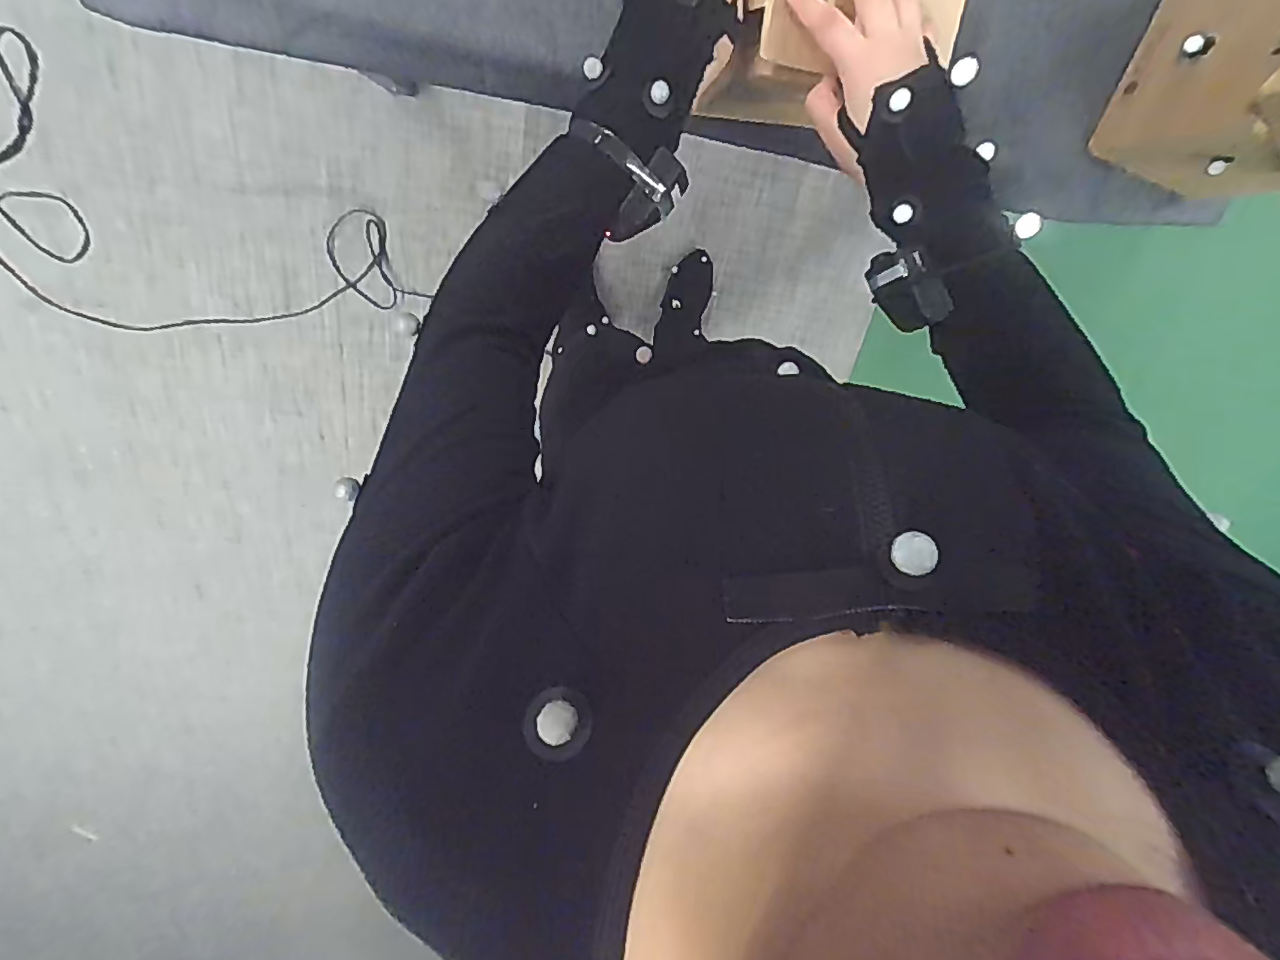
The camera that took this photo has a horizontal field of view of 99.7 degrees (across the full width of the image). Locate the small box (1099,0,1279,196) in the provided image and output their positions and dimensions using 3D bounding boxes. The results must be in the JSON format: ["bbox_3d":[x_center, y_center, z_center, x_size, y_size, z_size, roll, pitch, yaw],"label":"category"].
[{"bbox_3d":[0.633,-0.400,0.544,0.179,0.176,0.168,11,112,-13],"label":"small box"}]

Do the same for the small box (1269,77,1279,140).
[{"bbox_3d":[0.657,-0.316,0.405,0.179,0.176,0.168,32,106,-22],"label":"small box"}]

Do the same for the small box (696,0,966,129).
[{"bbox_3d":[0.154,-0.415,0.466,0.179,0.176,0.168,0,116,-9],"label":"small box"}]
